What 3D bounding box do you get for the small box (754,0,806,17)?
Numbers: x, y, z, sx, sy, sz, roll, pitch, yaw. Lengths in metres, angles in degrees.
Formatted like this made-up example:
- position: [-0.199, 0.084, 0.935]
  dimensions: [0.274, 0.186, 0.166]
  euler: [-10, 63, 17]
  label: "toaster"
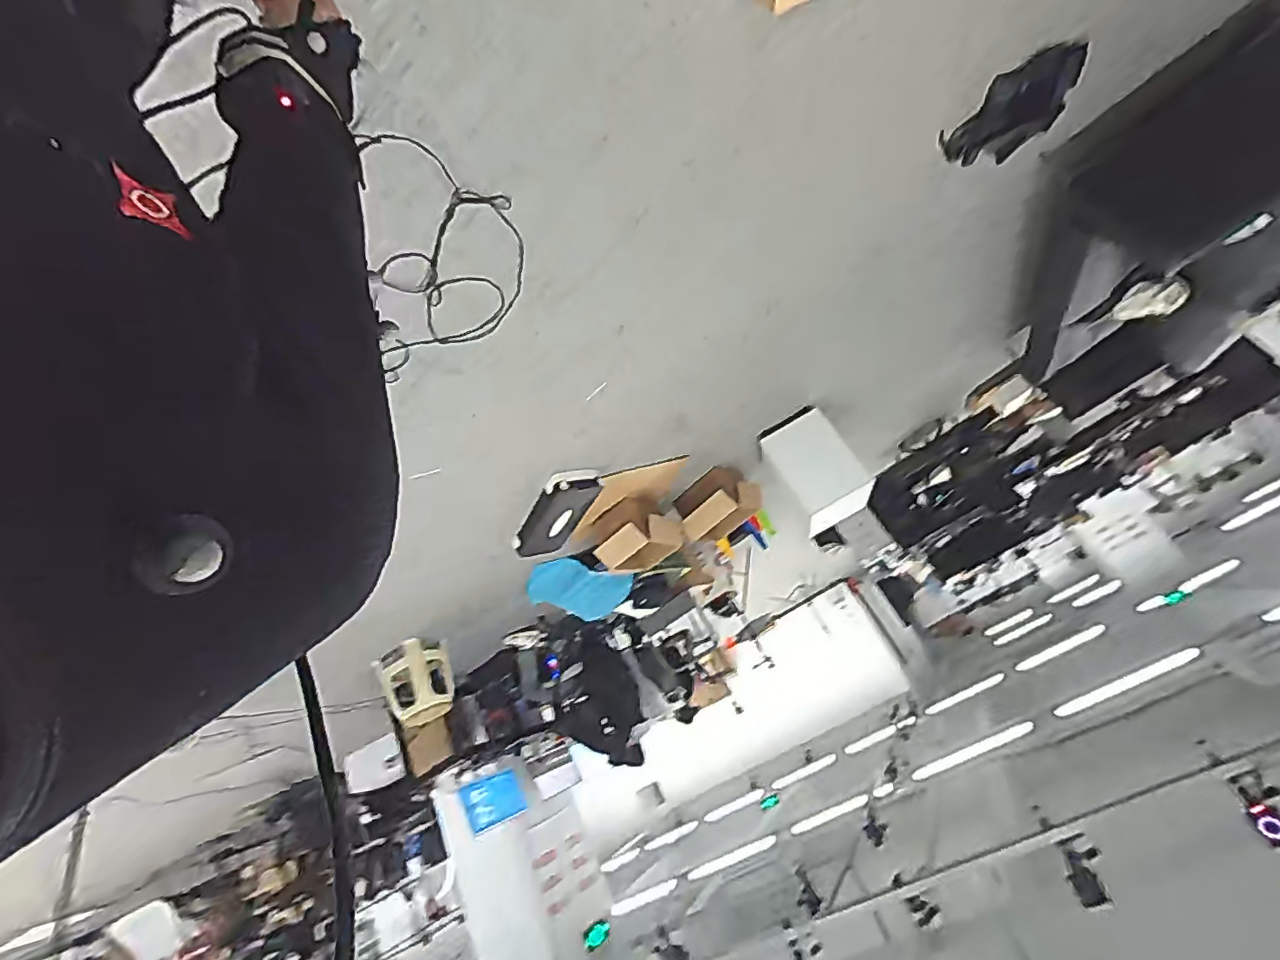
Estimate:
- position: [0.300, -1.099, 1.086]
  dimensions: [0.179, 0.176, 0.168]
  euler: [-28, 156, 0]
  label: "small box"
